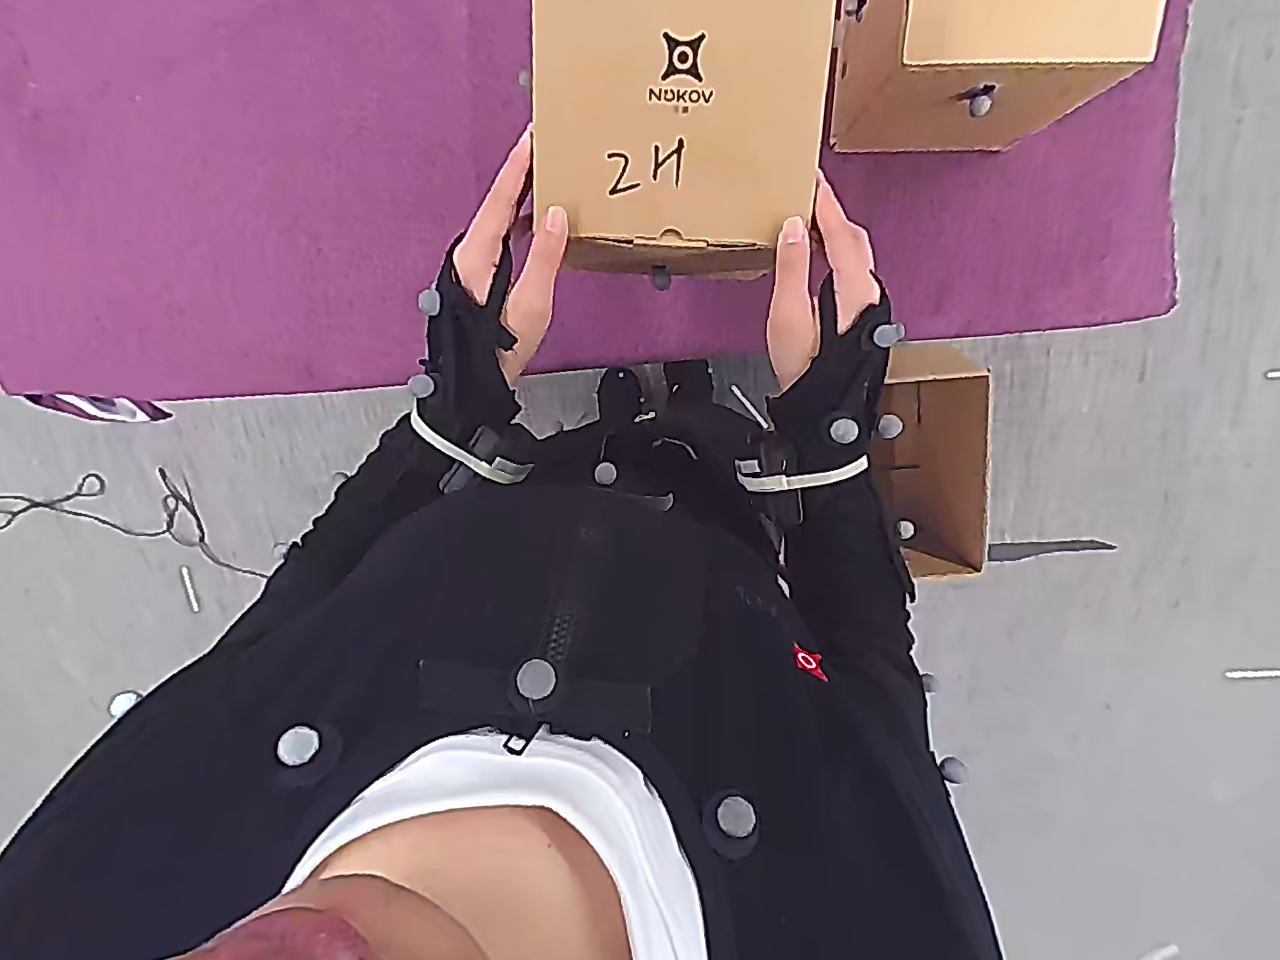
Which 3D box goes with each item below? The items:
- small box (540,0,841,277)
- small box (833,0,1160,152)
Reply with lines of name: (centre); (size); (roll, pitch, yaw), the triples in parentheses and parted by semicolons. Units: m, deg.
small box: (0.026, -0.247, 0.378); (0.168, 0.176, 0.179); (2, 105, 0)
small box: (0.278, -0.390, 0.445); (0.179, 0.176, 0.168); (2, 103, 3)
